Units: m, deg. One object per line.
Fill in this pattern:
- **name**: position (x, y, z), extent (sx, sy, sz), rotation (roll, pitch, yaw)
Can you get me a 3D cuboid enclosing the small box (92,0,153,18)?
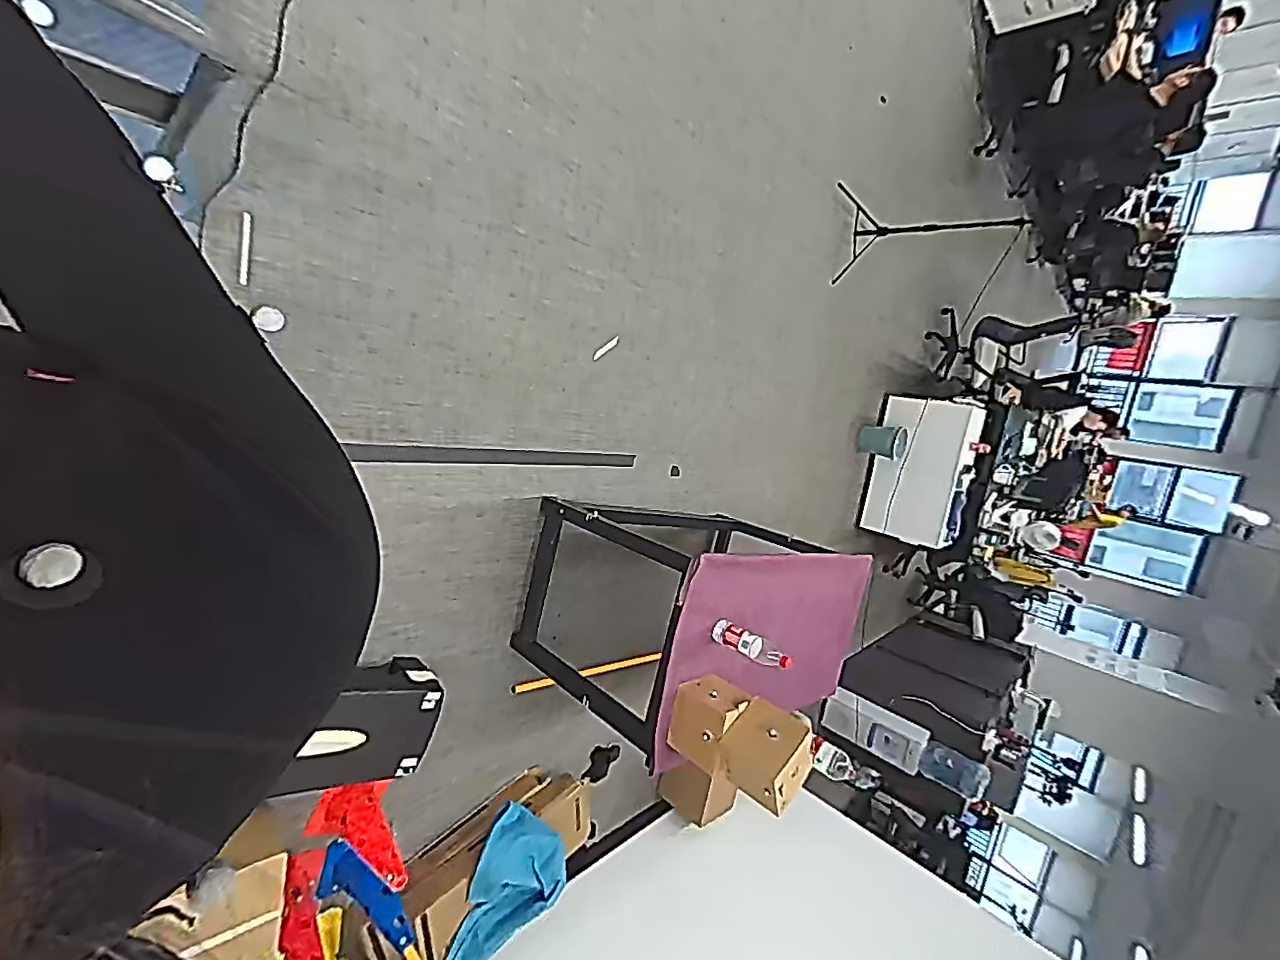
- **small box**: position (-0.789, -0.796, 0.747), extent (0.179, 0.176, 0.168), rotation (-2, 104, -46)
